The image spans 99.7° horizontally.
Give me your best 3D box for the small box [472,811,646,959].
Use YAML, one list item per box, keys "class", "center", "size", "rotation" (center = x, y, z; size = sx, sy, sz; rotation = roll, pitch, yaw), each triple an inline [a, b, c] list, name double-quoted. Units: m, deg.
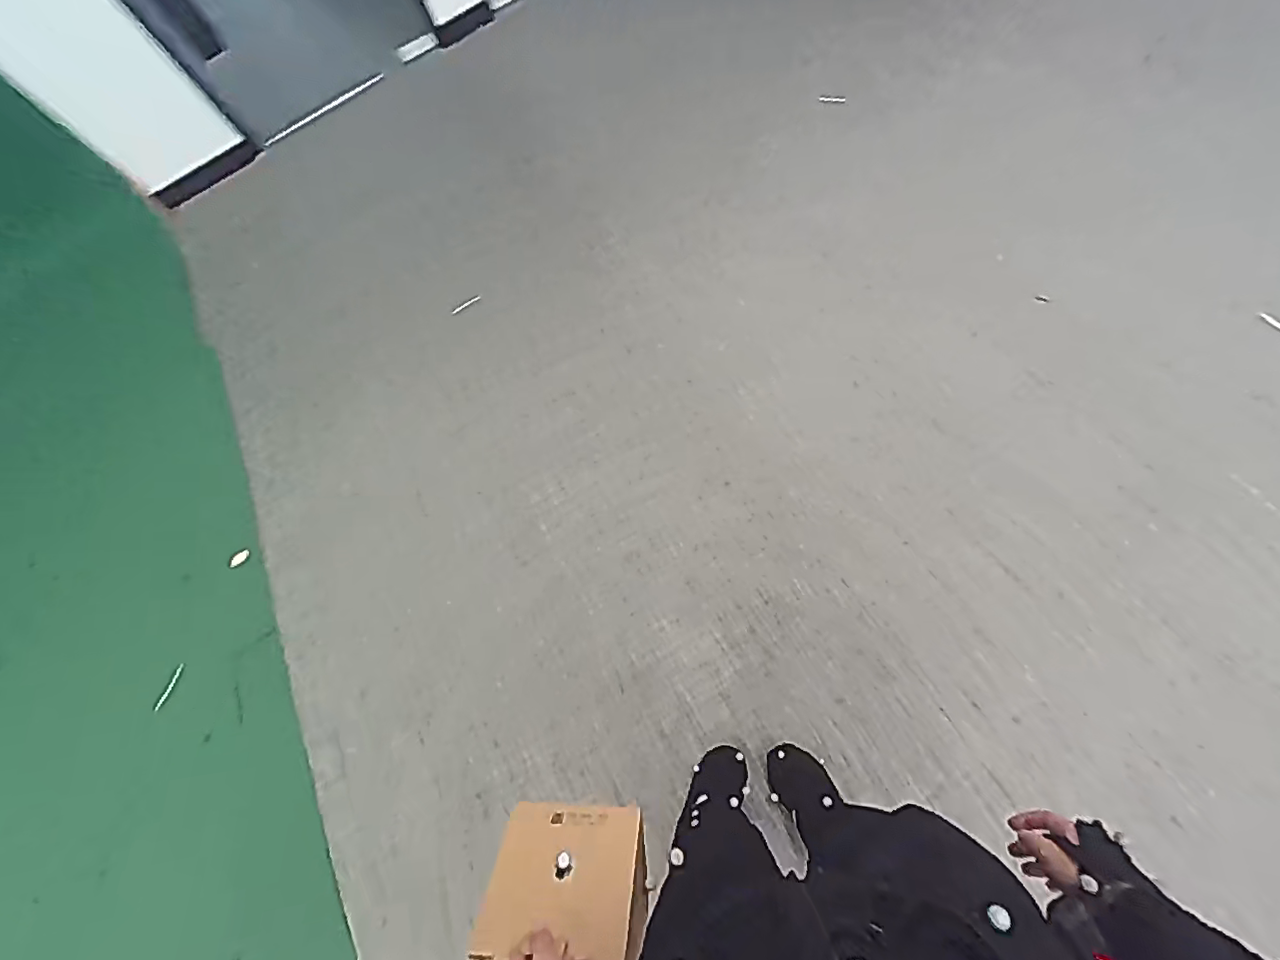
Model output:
- class: "small box"
  center: [-0.082, 0.528, 0.647]
  size: [0.168, 0.179, 0.176]
  rotation: [-2, 23, 6]
